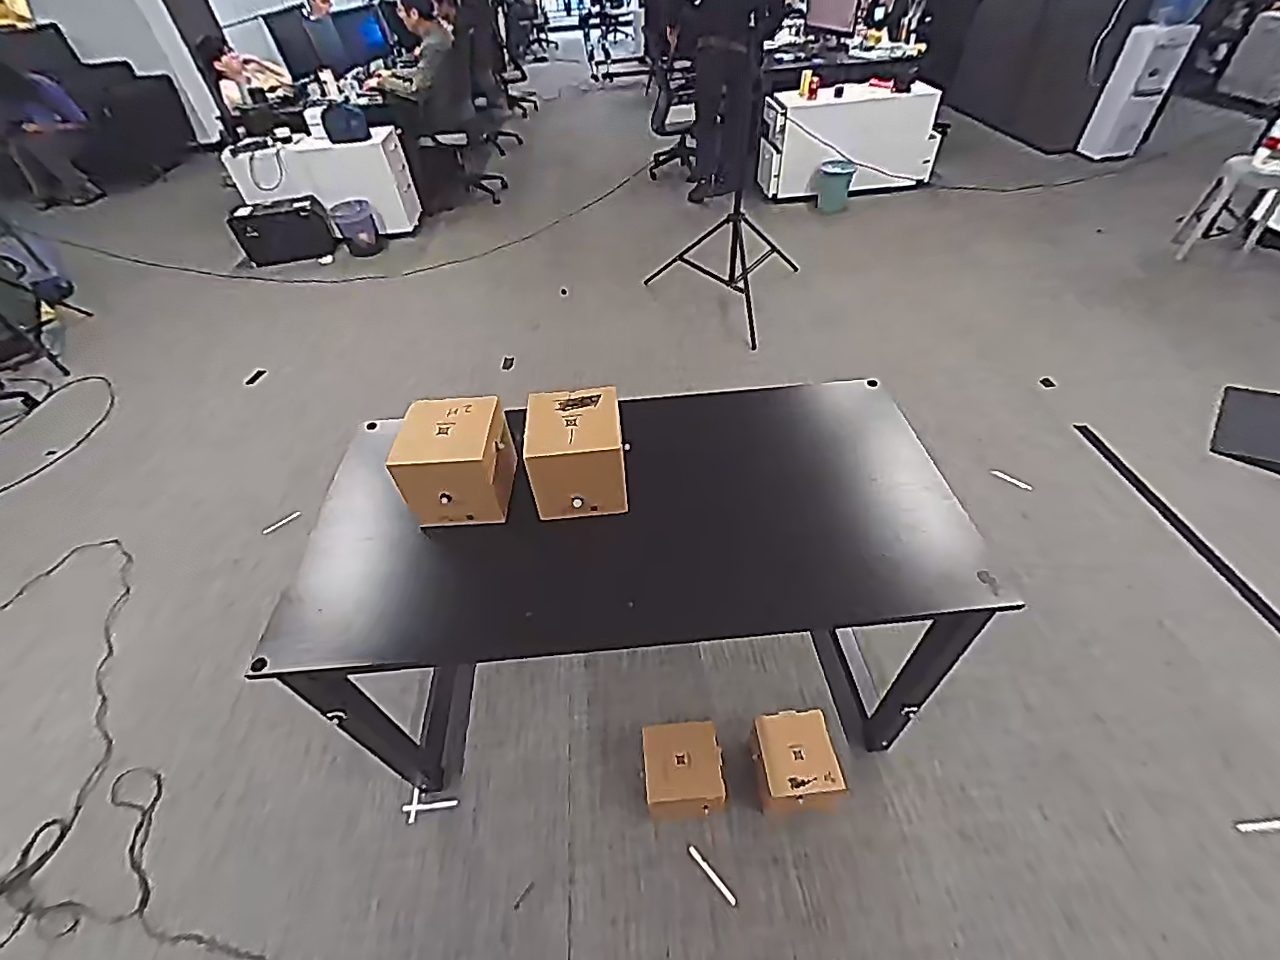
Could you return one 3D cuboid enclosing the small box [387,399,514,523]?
[{"bbox_3d":[-0.342,-0.031,1.017,0.168,0.176,0.179,-3,46,1],"label":"small box"}]

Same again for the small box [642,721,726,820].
[{"bbox_3d":[0.101,0.697,1.294,0.179,0.176,0.168,-6,45,0],"label":"small box"}]

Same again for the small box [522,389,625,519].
[{"bbox_3d":[-0.118,-0.048,1.016,0.168,0.176,0.179,-6,47,-1],"label":"small box"}]

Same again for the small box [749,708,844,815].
[{"bbox_3d":[0.363,0.673,1.291,0.168,0.176,0.179,-7,45,-1],"label":"small box"}]
